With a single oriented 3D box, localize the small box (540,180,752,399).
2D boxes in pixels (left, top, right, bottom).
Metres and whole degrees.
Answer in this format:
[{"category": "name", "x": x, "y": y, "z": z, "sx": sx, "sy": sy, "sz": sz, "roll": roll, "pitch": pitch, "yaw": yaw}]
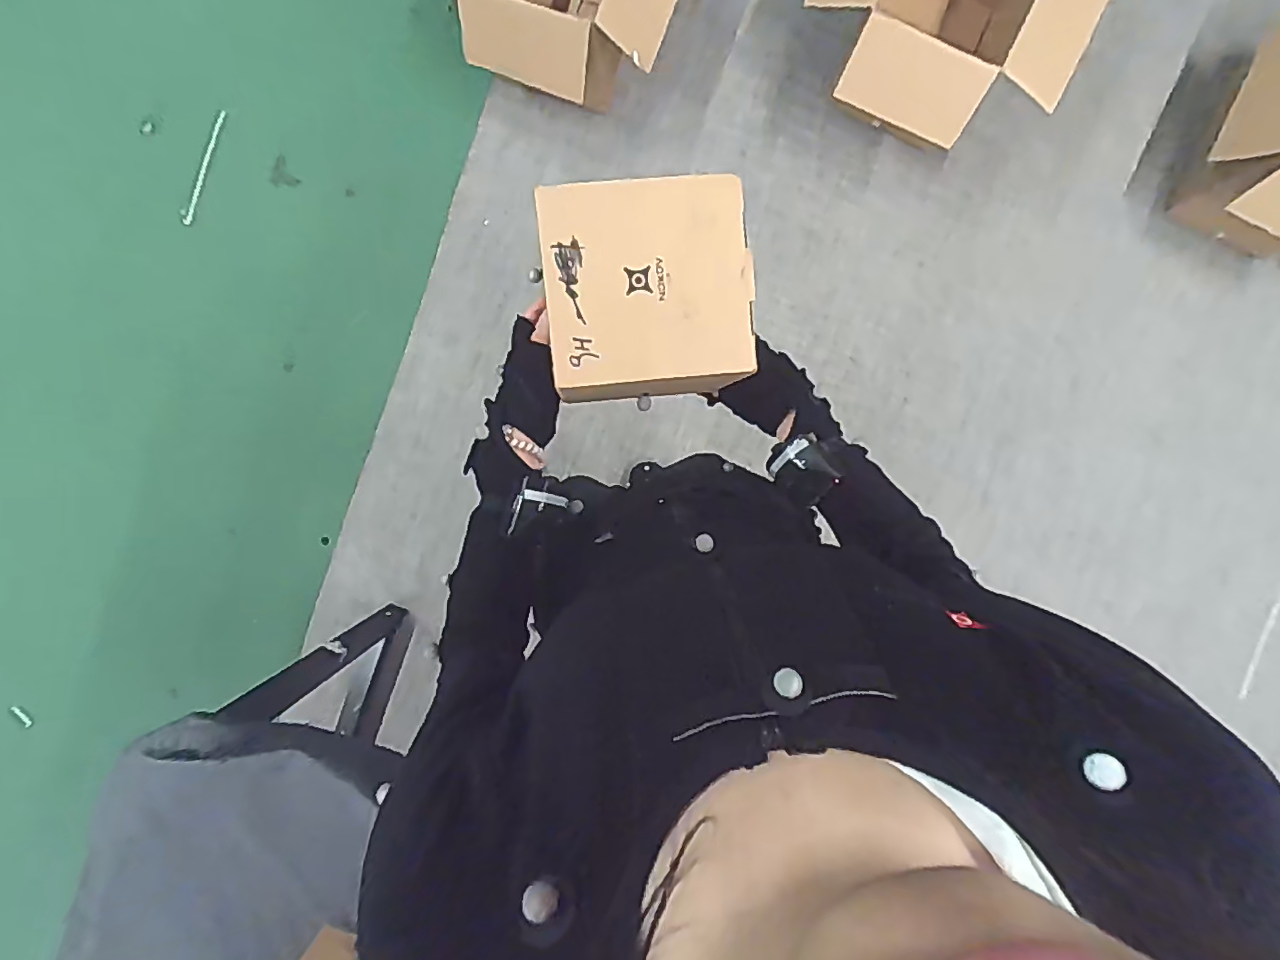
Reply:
[{"category": "small box", "x": -0.001, "y": -0.173, "z": 0.536, "sx": 0.179, "sy": 0.176, "sz": 0.168, "roll": -5, "pitch": 93, "yaw": -6}]
